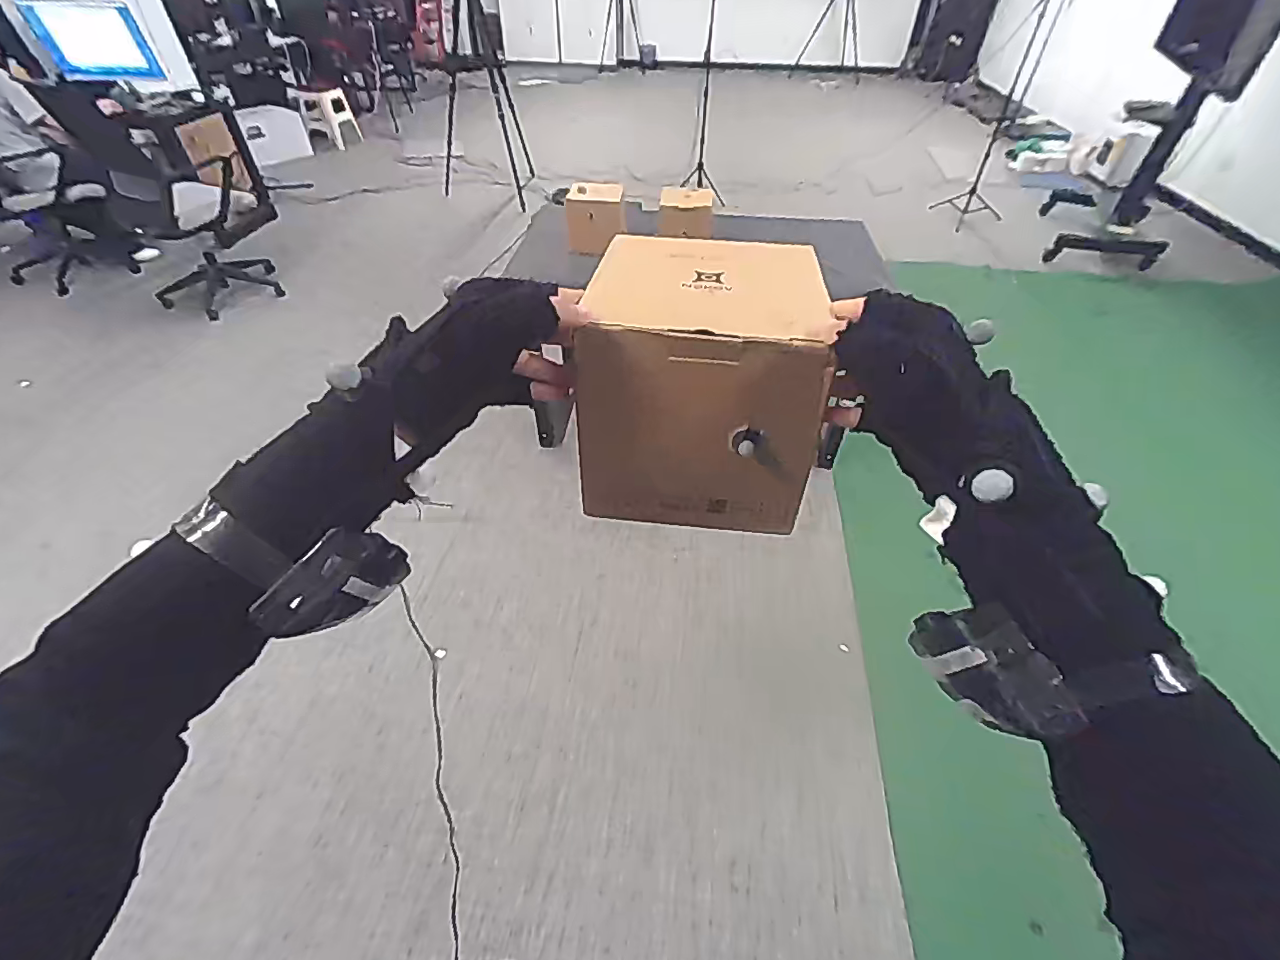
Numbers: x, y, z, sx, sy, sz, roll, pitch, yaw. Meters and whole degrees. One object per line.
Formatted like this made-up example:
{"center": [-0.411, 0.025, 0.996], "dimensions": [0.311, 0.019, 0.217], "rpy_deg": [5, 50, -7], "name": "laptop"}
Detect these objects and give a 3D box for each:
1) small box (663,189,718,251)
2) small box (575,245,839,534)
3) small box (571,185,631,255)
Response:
{"center": [0.165, -0.837, 1.781], "dimensions": [0.168, 0.176, 0.179], "rpy_deg": [5, 46, 4], "name": "small box"}
{"center": [0.049, -0.076, 0.443], "dimensions": [0.168, 0.176, 0.179], "rpy_deg": [6, 40, 4], "name": "small box"}
{"center": [-0.126, -0.867, 1.802], "dimensions": [0.179, 0.176, 0.168], "rpy_deg": [4, 45, 2], "name": "small box"}
